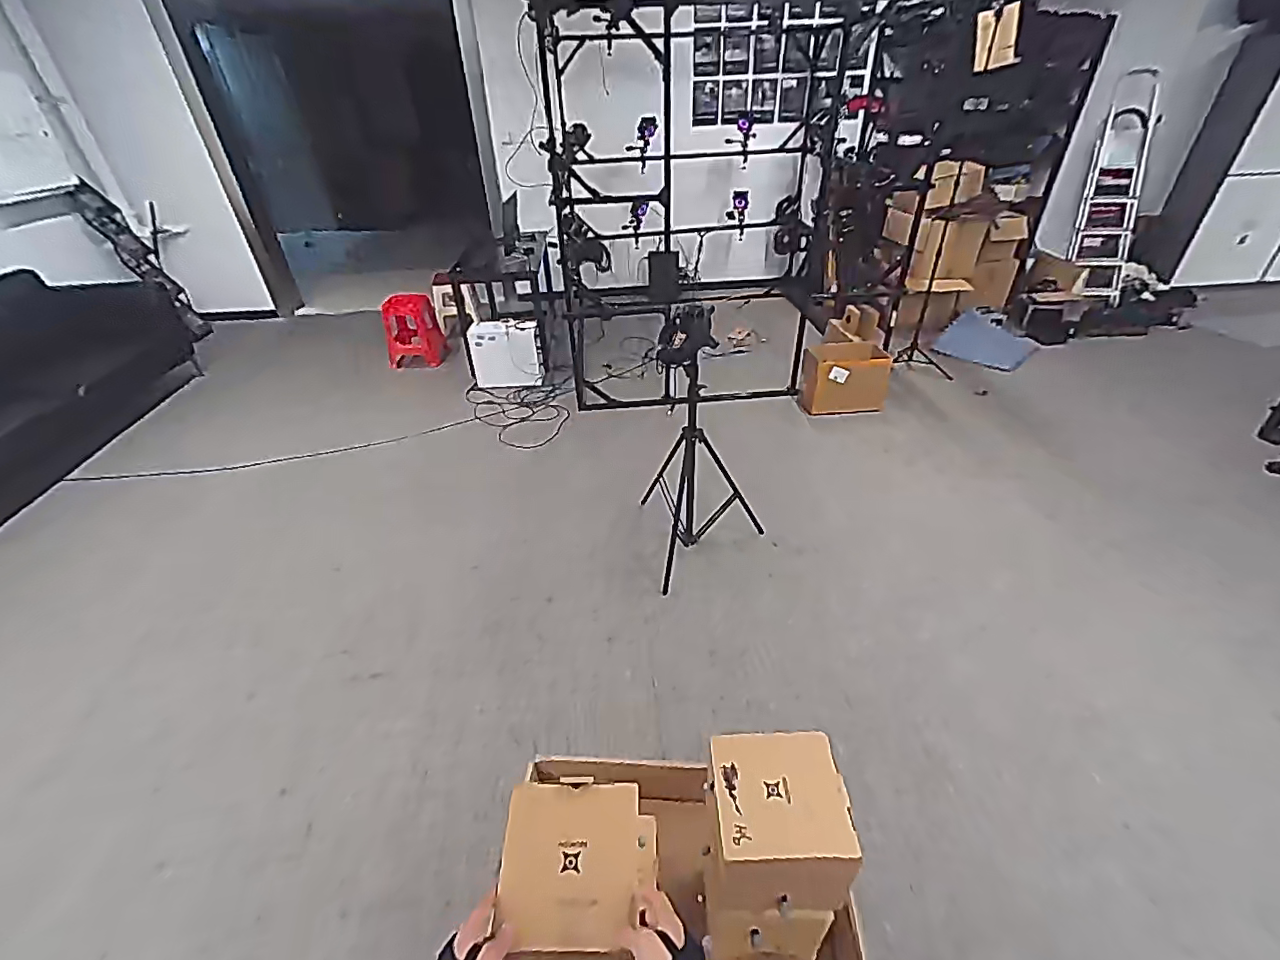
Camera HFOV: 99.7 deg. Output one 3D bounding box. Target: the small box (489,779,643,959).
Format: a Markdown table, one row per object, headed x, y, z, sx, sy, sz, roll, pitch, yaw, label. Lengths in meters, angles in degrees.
| x | y | z | sx | sy | sz | roll | pitch | yaw | label |
| --- | --- | --- | --- | --- | --- | --- | --- | --- | --- |
| -0.085 | 0.508 | 0.684 | 0.168 | 0.176 | 0.179 | 2 | 37 | -3 | small box |

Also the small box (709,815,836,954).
| x | y | z | sx | sy | sz | roll | pitch | yaw | label |
| --- | --- | --- | --- | --- | --- | --- | --- | --- | --- |
| 0.197 | 0.618 | 0.857 | 0.168 | 0.176 | 0.179 | -1 | 34 | 3 | small box |

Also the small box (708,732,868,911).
| x | y | z | sx | sy | sz | roll | pitch | yaw | label |
| --- | --- | --- | --- | --- | --- | --- | --- | --- | --- |
| 0.194 | 0.481 | 0.766 | 0.179 | 0.176 | 0.168 | -1 | 34 | 1 | small box |
